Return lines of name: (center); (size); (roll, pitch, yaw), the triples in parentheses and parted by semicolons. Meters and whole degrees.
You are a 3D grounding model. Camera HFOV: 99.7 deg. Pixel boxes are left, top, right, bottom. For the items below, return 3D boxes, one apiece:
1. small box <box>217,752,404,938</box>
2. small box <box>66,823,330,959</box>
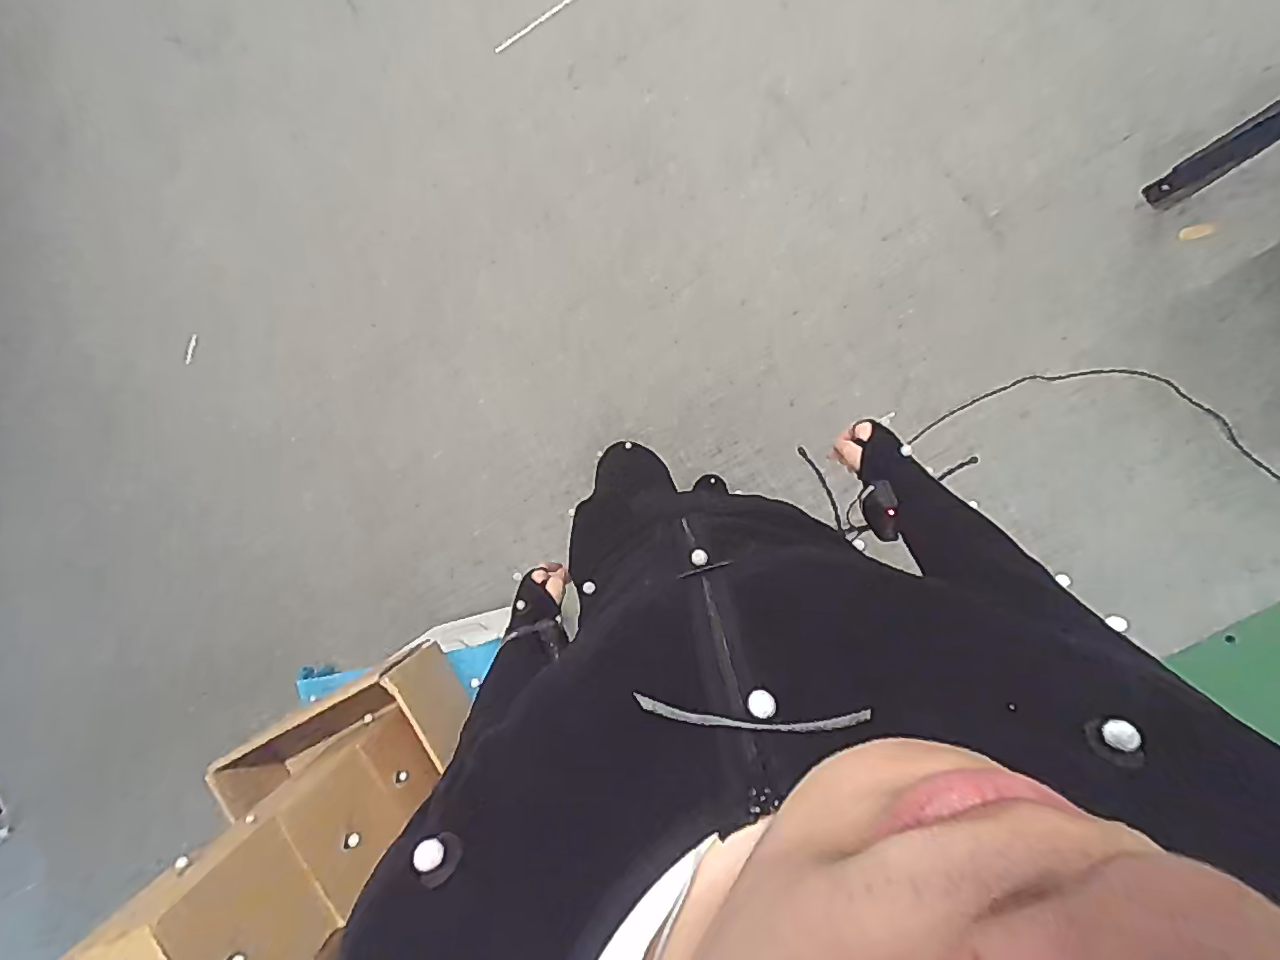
small box: (-0.491, 0.553, 0.803); (0.168, 0.176, 0.179); (-31, 92, 6)
small box: (-0.516, 0.561, 0.640); (0.168, 0.176, 0.179); (-29, 91, 6)
